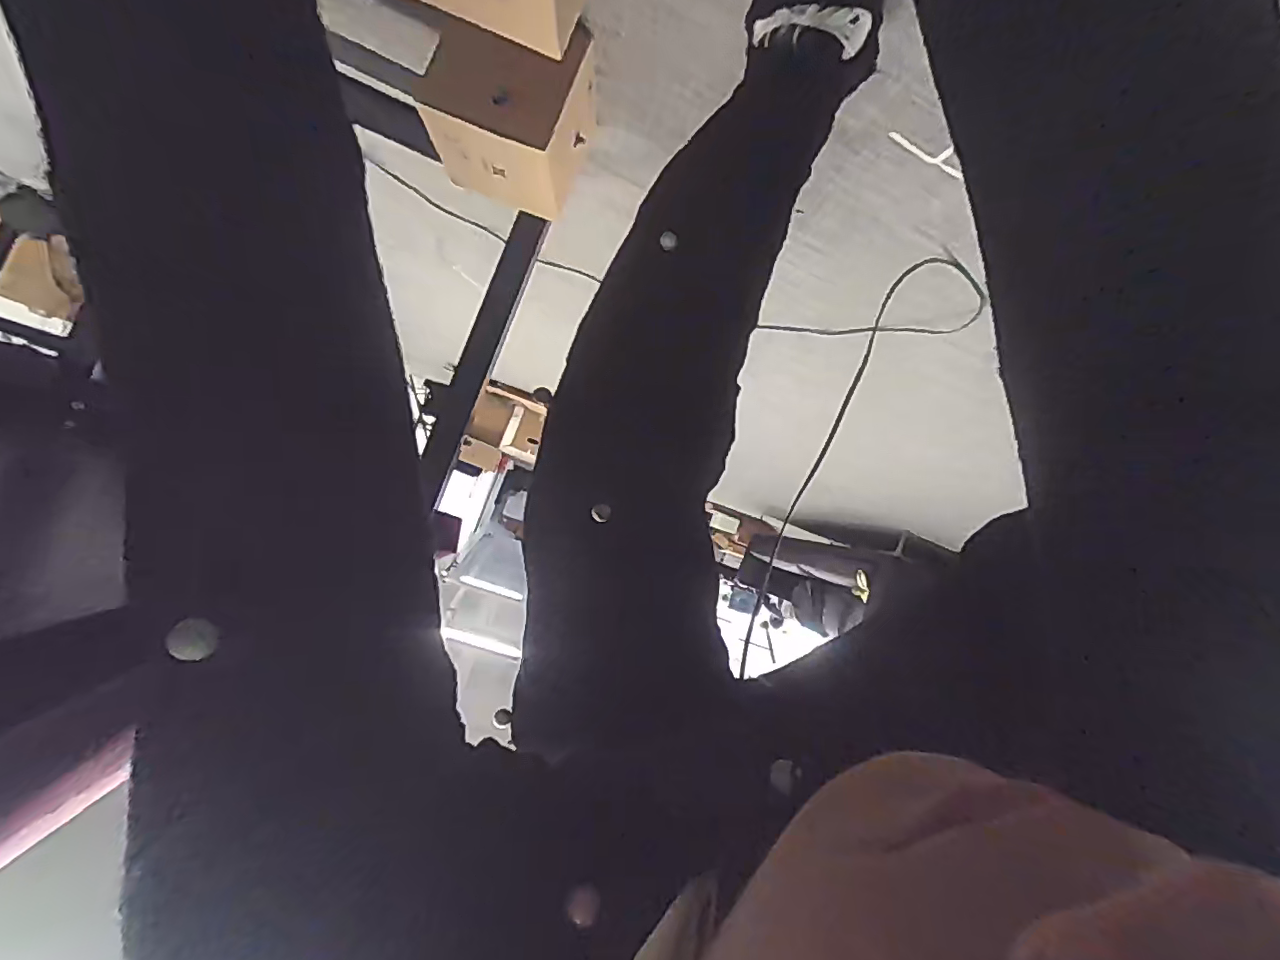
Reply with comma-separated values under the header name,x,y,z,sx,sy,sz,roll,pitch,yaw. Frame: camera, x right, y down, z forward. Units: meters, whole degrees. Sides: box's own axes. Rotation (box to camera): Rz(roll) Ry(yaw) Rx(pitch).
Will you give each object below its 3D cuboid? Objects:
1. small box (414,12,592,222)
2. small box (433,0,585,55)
name,x,y,z,sx,sy,sz,roll,pitch,yaw
small box,-0.169,-0.494,0.732,0.179,0.176,0.168,20,175,-2
small box,-0.111,-0.505,0.420,0.168,0.176,0.179,22,175,-4
